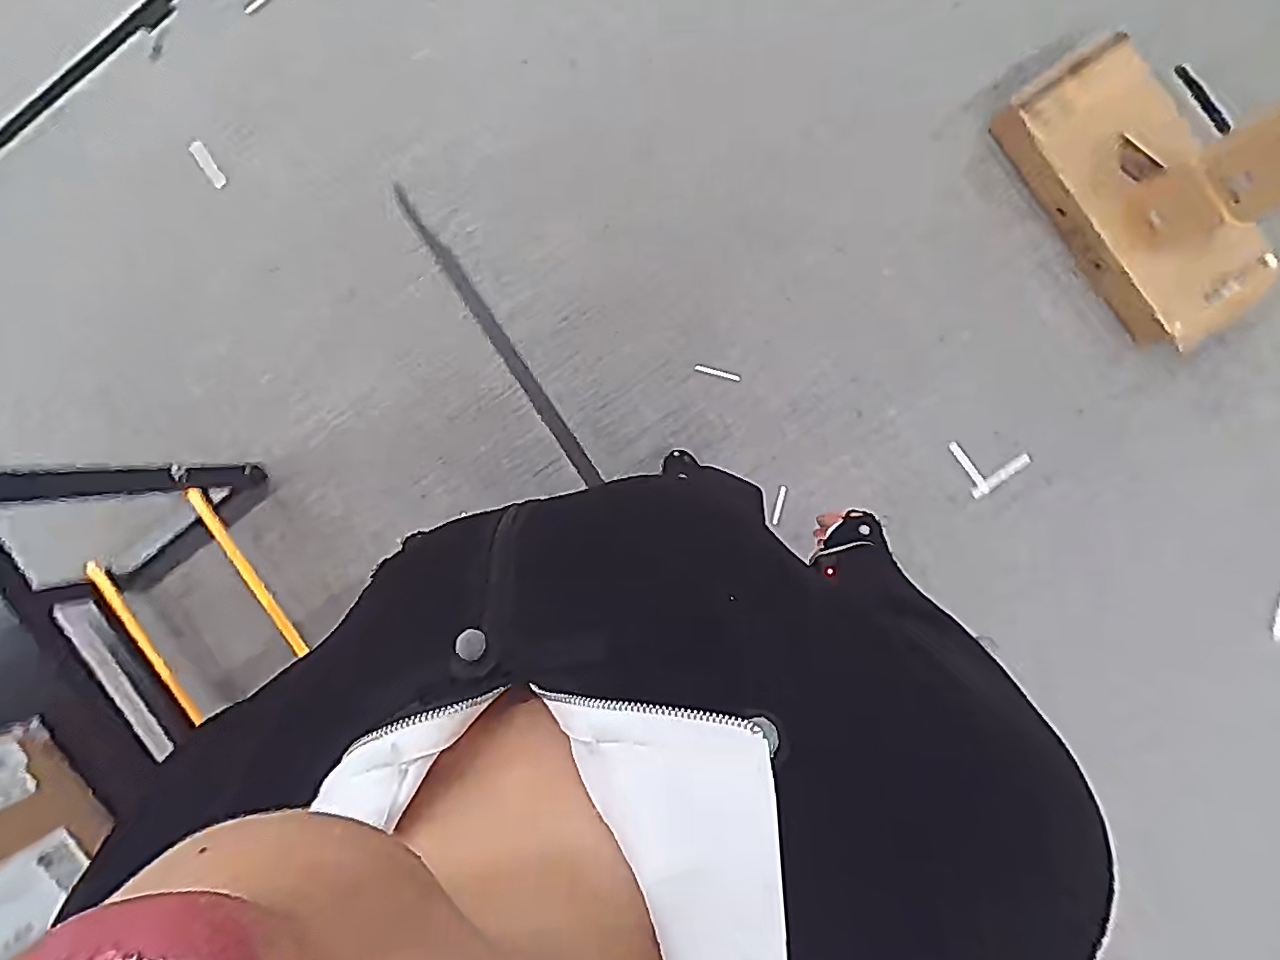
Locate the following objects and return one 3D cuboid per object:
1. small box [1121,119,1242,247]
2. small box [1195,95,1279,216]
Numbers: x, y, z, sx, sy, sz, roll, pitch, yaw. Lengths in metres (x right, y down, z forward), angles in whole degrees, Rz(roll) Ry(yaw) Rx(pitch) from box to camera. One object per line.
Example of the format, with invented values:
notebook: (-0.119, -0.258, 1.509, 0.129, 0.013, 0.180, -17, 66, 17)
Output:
small box: (1.253, -0.660, 1.209, 0.179, 0.176, 0.168, -31, 90, 5)
small box: (1.260, -0.657, 1.042, 0.179, 0.176, 0.168, -35, 90, 4)
